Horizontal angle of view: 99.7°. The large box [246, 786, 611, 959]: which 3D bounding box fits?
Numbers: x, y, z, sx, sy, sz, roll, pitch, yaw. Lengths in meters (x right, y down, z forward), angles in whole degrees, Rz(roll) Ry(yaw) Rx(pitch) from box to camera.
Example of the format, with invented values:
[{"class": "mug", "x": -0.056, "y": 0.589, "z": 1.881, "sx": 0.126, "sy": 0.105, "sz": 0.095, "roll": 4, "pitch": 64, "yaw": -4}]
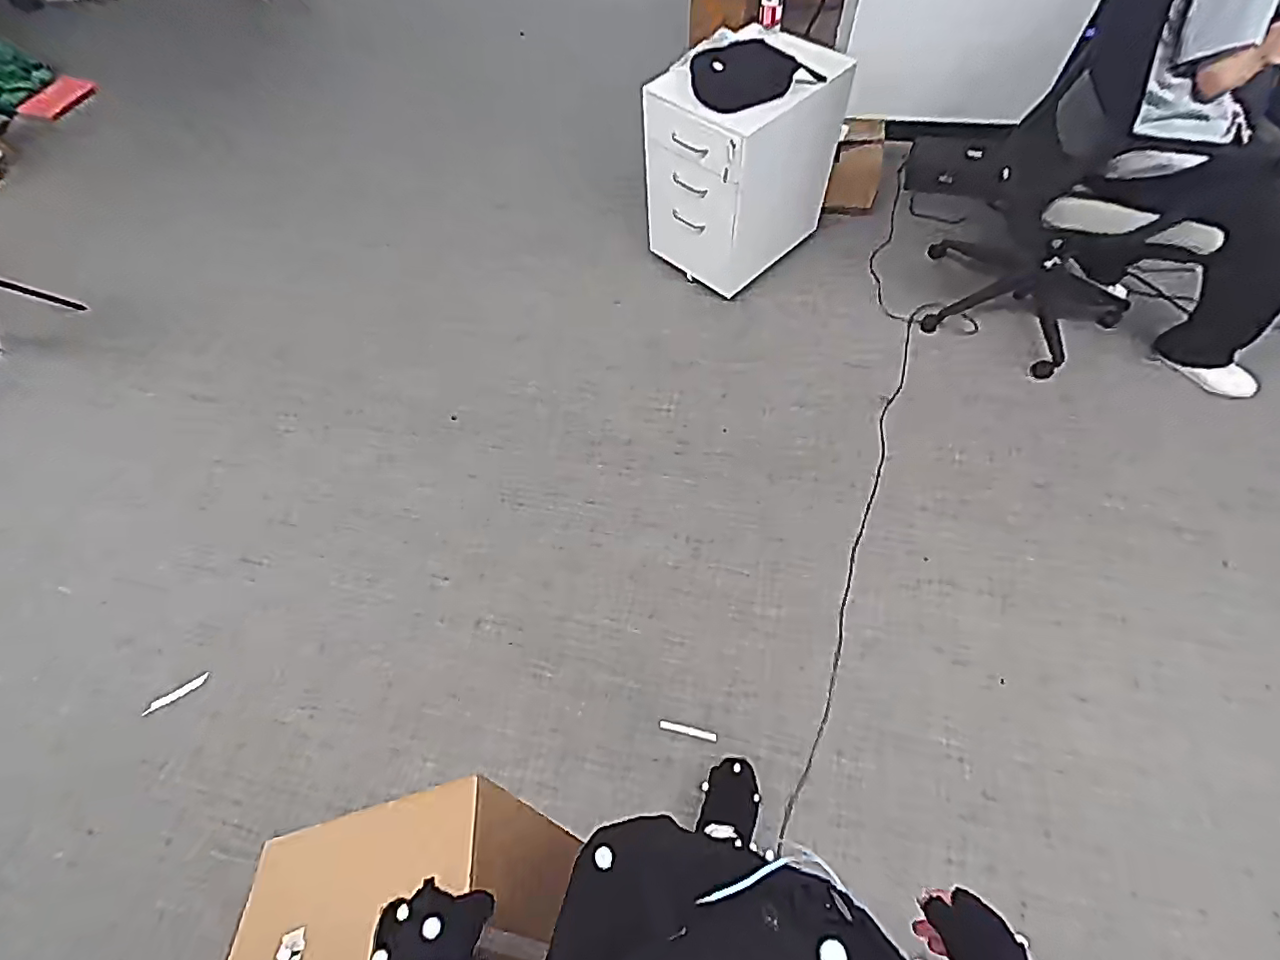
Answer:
[{"class": "large box", "x": -0.249, "y": 0.661, "z": 0.708, "sx": 0.320, "sy": 0.408, "sz": 0.320, "roll": -19, "pitch": 42, "yaw": 6}]
